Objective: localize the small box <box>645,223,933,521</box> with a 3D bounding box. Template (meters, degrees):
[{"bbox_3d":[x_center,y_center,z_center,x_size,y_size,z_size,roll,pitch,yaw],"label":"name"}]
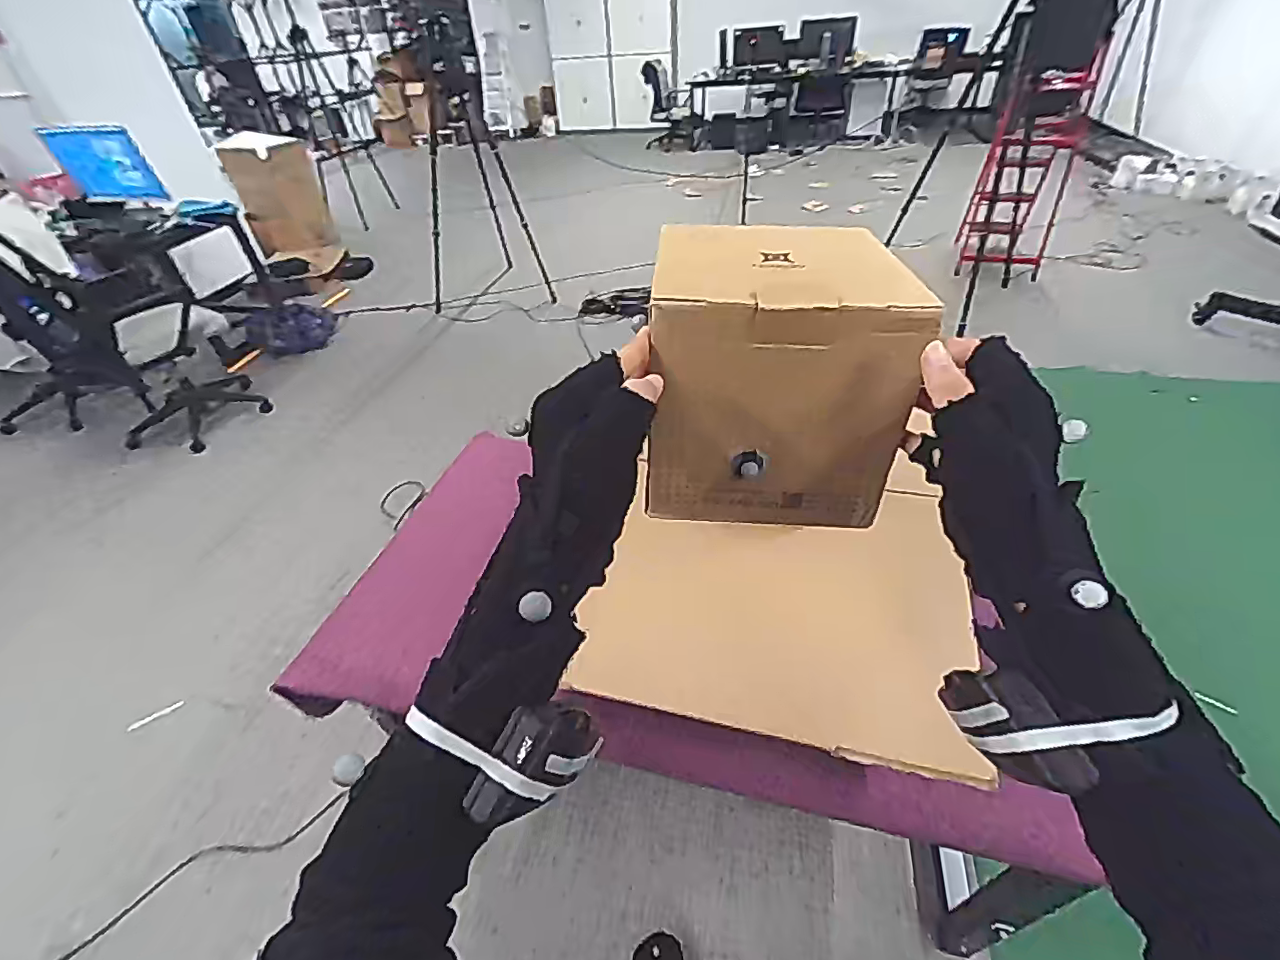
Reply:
[{"bbox_3d":[0.091,-0.090,0.425,0.168,0.176,0.179,2,38,3],"label":"small box"}]
